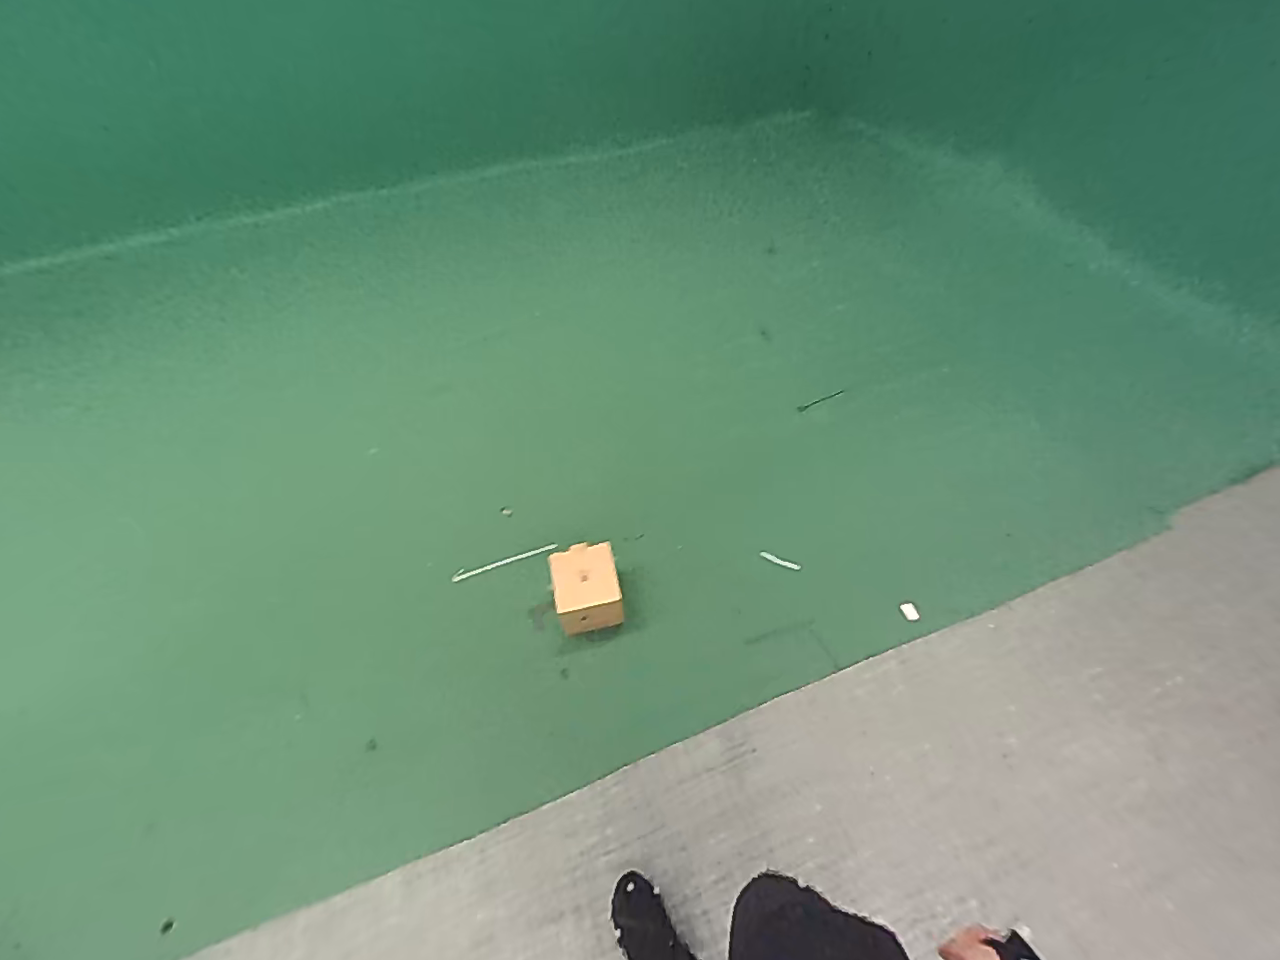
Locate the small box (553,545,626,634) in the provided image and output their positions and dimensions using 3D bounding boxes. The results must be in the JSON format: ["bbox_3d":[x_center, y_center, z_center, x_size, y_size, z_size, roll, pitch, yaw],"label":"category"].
[{"bbox_3d":[-0.135,0.308,1.483,0.168,0.176,0.179,-11,54,-7],"label":"small box"}]
